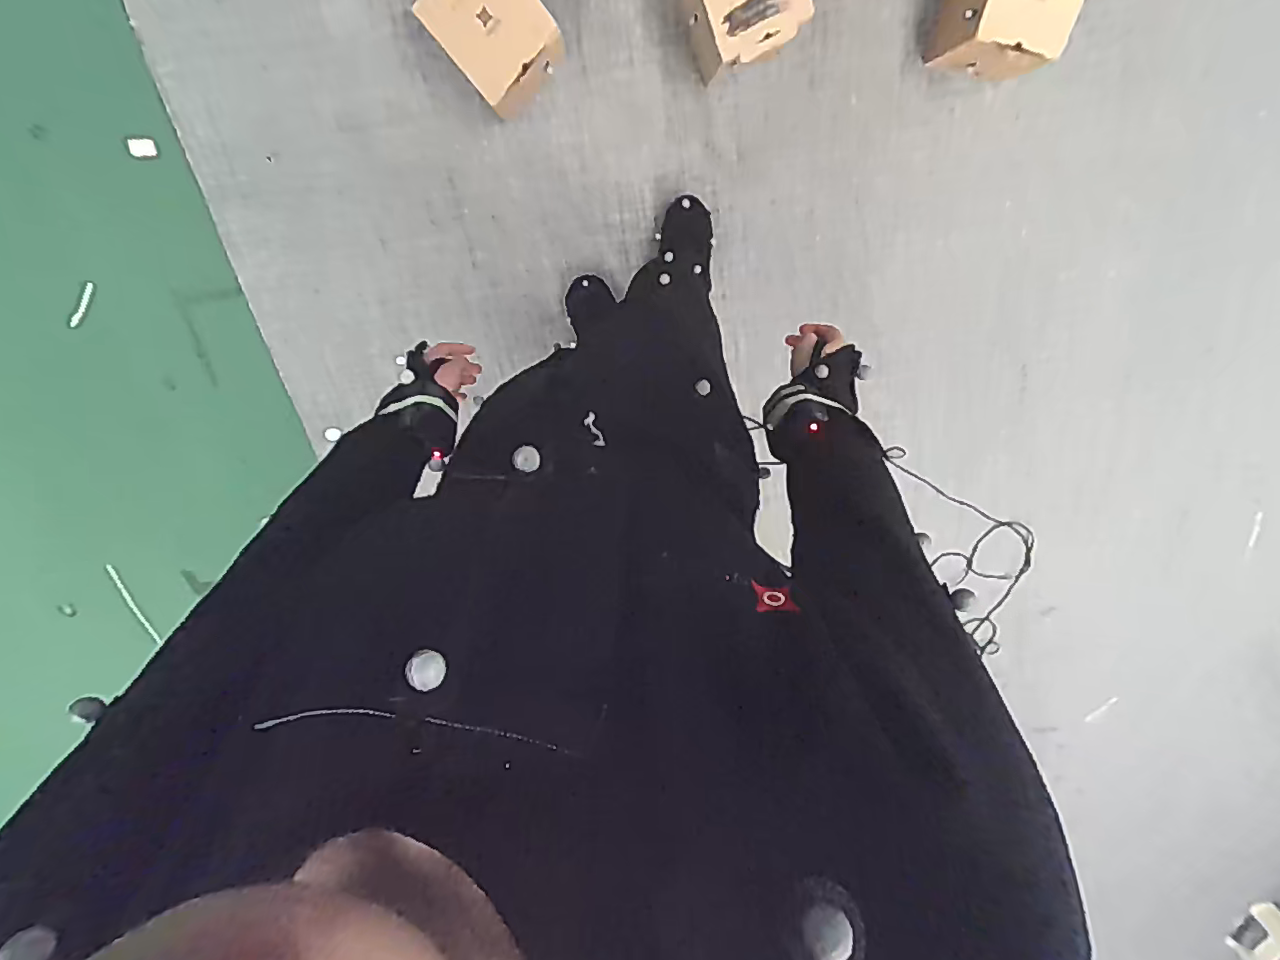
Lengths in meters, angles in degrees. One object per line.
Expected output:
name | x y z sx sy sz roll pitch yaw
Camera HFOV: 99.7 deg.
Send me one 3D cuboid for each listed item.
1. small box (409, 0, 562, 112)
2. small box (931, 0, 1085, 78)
small box | -0.251 -0.774 0.931 0.168 0.176 0.179 -40 110 13
small box | 0.654 -0.851 0.954 0.168 0.176 0.179 8 115 -8
